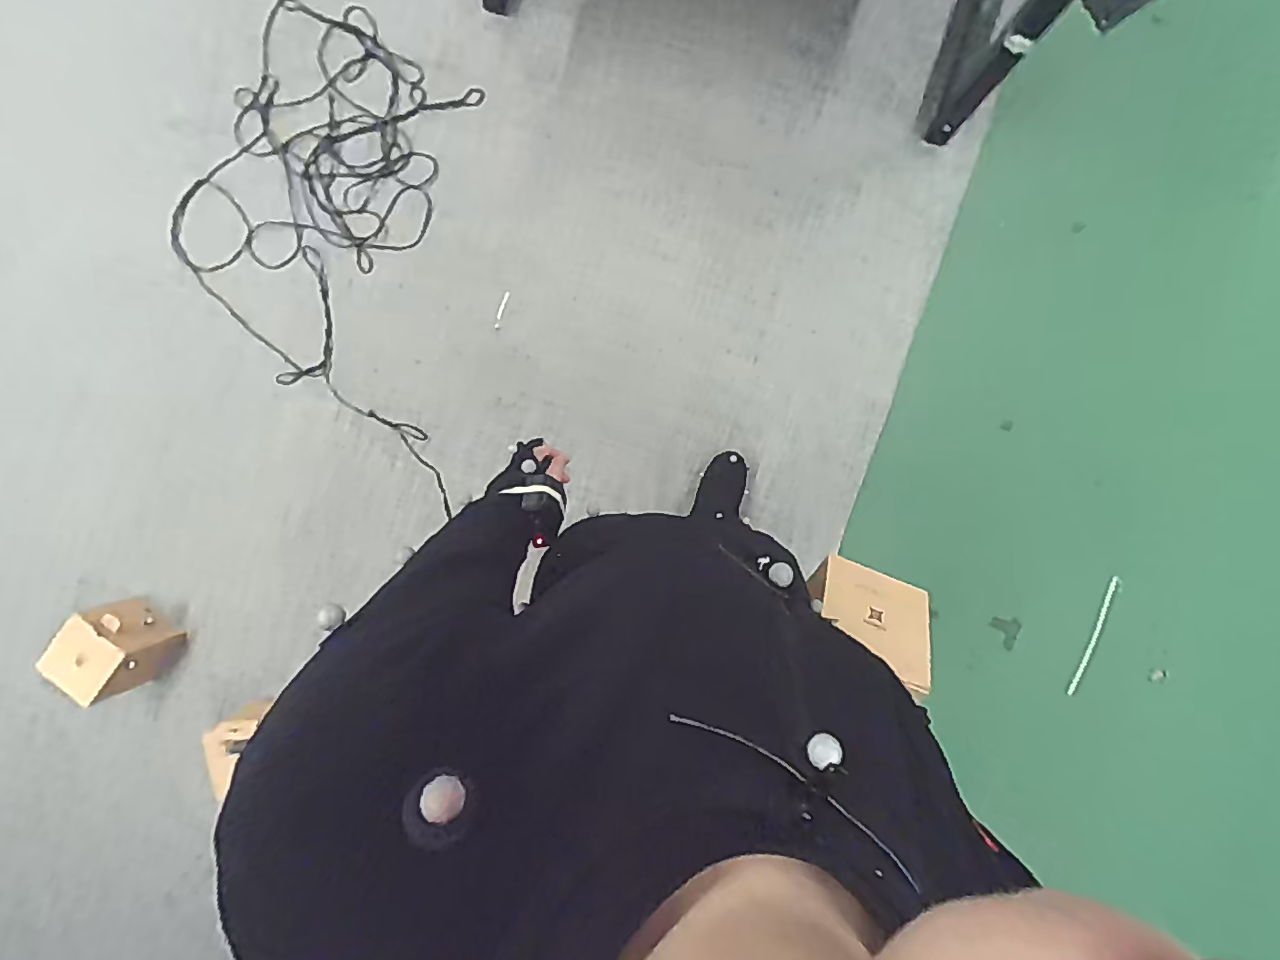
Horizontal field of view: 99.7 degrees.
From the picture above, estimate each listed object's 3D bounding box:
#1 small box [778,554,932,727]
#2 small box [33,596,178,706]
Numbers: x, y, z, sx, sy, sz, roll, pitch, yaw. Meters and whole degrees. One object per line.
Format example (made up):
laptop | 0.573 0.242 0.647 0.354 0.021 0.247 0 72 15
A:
small box | 0.329 0.255 0.846 0.168 0.179 0.176 21 136 5
small box | -1.338 0.423 1.367 0.168 0.176 0.179 38 93 1
